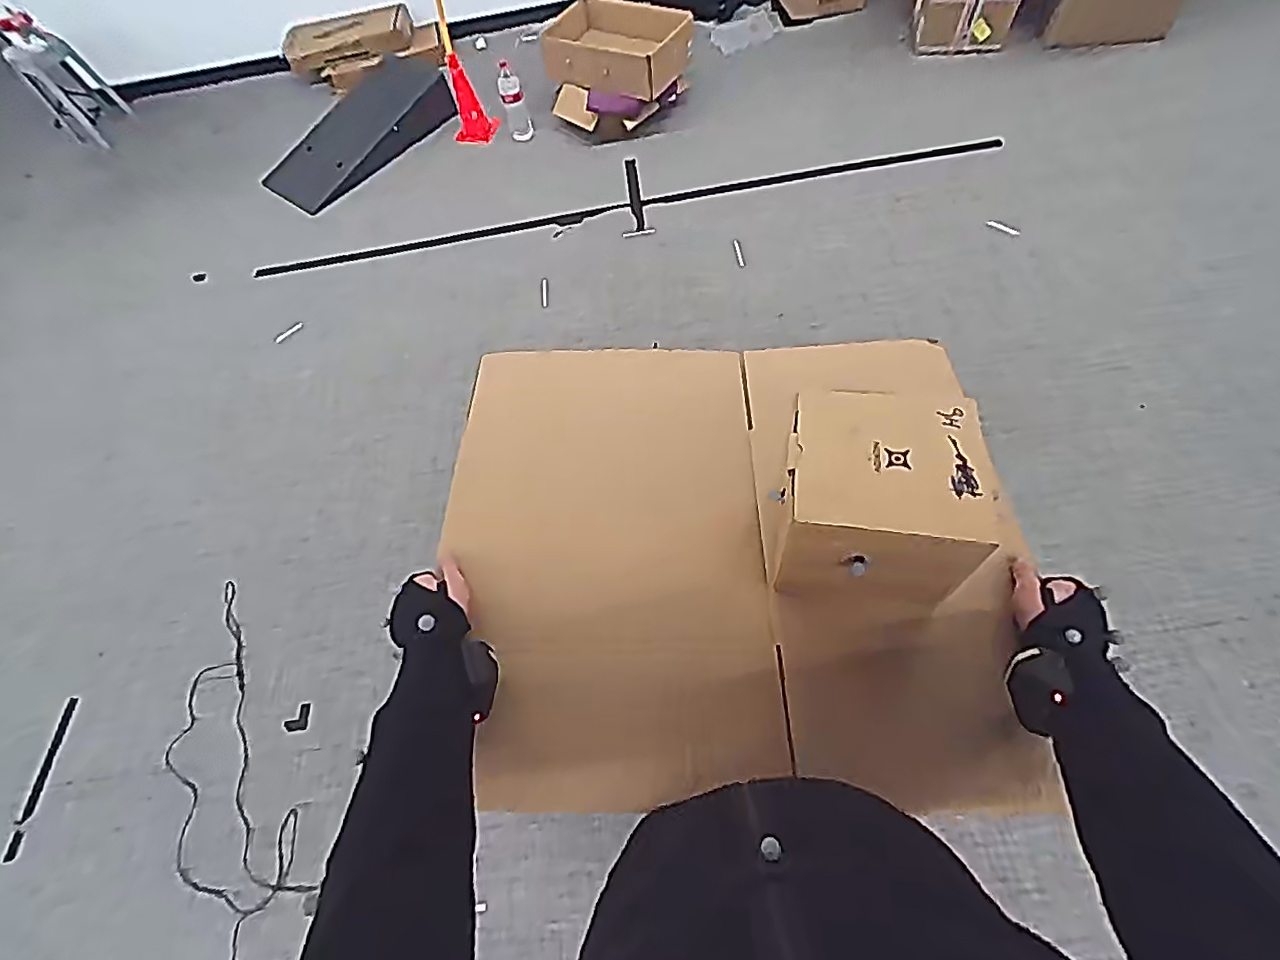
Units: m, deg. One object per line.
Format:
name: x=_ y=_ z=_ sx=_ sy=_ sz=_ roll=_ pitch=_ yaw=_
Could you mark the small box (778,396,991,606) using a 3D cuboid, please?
small box: x=0.248 y=0.027 z=0.594 sx=0.179 sy=0.176 sz=0.168 roll=5 pitch=59 yaw=12
